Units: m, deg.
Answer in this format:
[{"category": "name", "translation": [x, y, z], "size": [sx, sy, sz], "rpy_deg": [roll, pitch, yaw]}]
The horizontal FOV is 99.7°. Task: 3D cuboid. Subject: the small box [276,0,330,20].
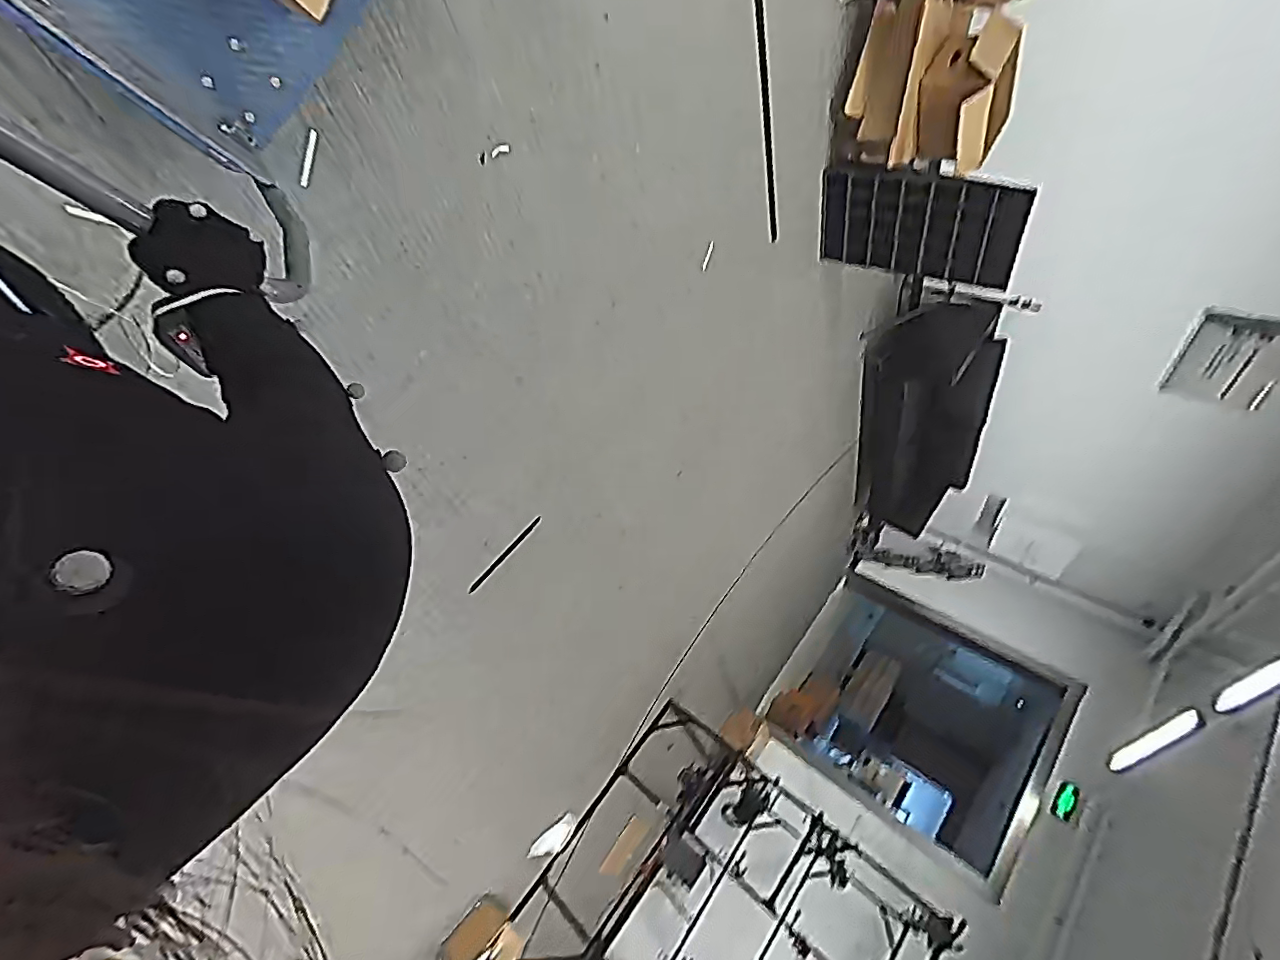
[{"category": "small box", "translation": [-0.557, -0.853, 0.820], "size": [0.168, 0.176, 0.179], "rpy_deg": [-53, 145, 9]}]
